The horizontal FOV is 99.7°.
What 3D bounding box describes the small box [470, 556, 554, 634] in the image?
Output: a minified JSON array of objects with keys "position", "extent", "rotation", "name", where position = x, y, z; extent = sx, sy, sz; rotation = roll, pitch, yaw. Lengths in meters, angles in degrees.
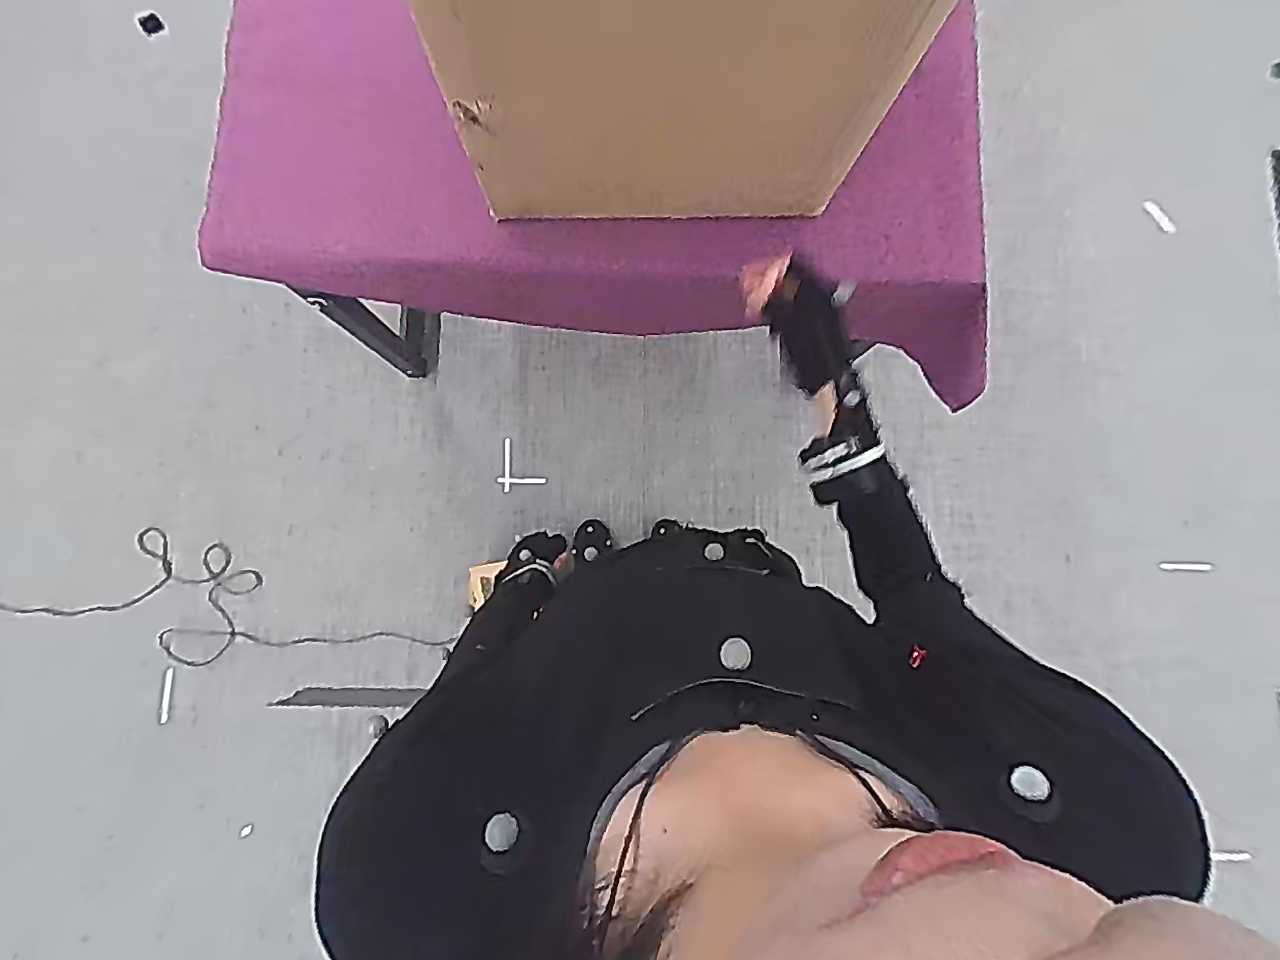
[{"position":[-0.328,0.294,1.411],"extent":[0.179,0.176,0.168],"rotation":[-9,85,-4],"name":"small box"}]
